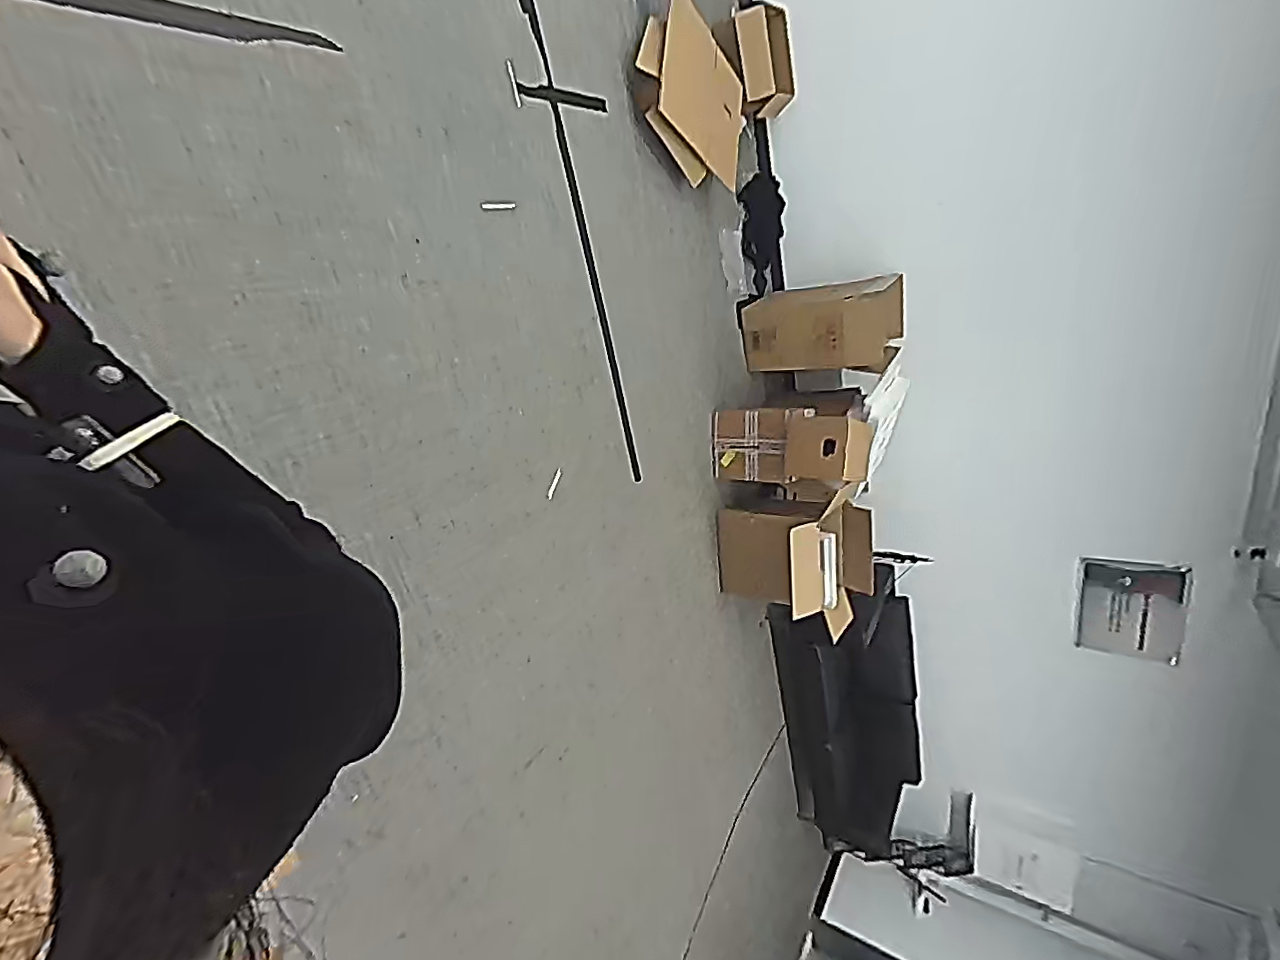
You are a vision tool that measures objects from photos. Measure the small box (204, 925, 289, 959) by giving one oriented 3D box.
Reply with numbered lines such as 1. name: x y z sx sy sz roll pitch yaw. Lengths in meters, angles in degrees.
1. small box: -0.537 0.759 0.725 0.168 0.176 0.179 -36 119 -46
